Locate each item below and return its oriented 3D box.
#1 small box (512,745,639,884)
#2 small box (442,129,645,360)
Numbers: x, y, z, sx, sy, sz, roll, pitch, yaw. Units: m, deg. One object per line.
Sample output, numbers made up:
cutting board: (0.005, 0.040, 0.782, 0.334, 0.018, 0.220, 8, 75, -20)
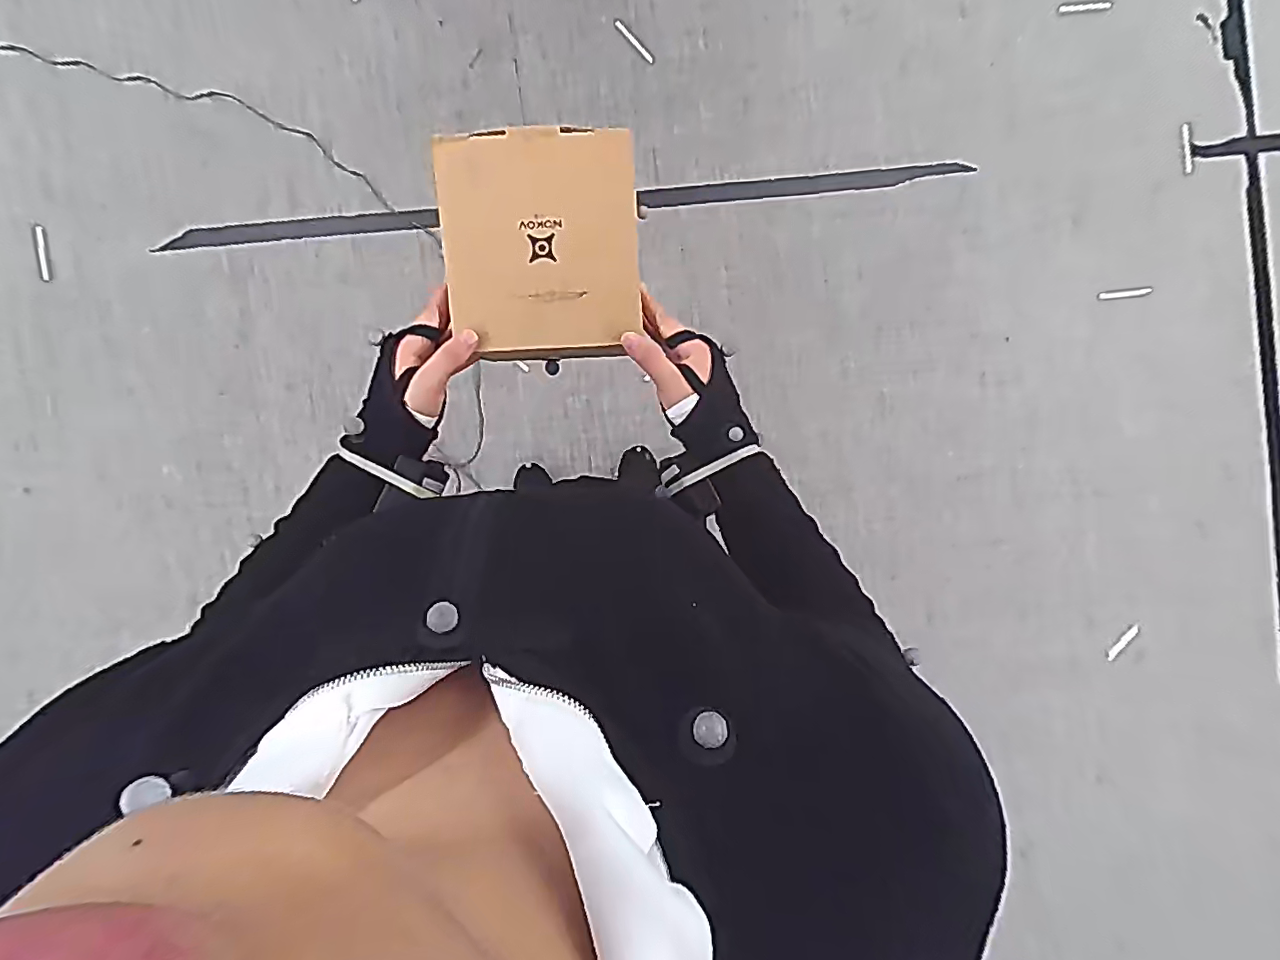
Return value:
small box: (-0.105, 0.603, 0.954, 0.179, 0.176, 0.168, -16, 89, -2)
small box: (-0.084, -0.217, 0.540, 0.168, 0.176, 0.179, -3, 100, -2)
